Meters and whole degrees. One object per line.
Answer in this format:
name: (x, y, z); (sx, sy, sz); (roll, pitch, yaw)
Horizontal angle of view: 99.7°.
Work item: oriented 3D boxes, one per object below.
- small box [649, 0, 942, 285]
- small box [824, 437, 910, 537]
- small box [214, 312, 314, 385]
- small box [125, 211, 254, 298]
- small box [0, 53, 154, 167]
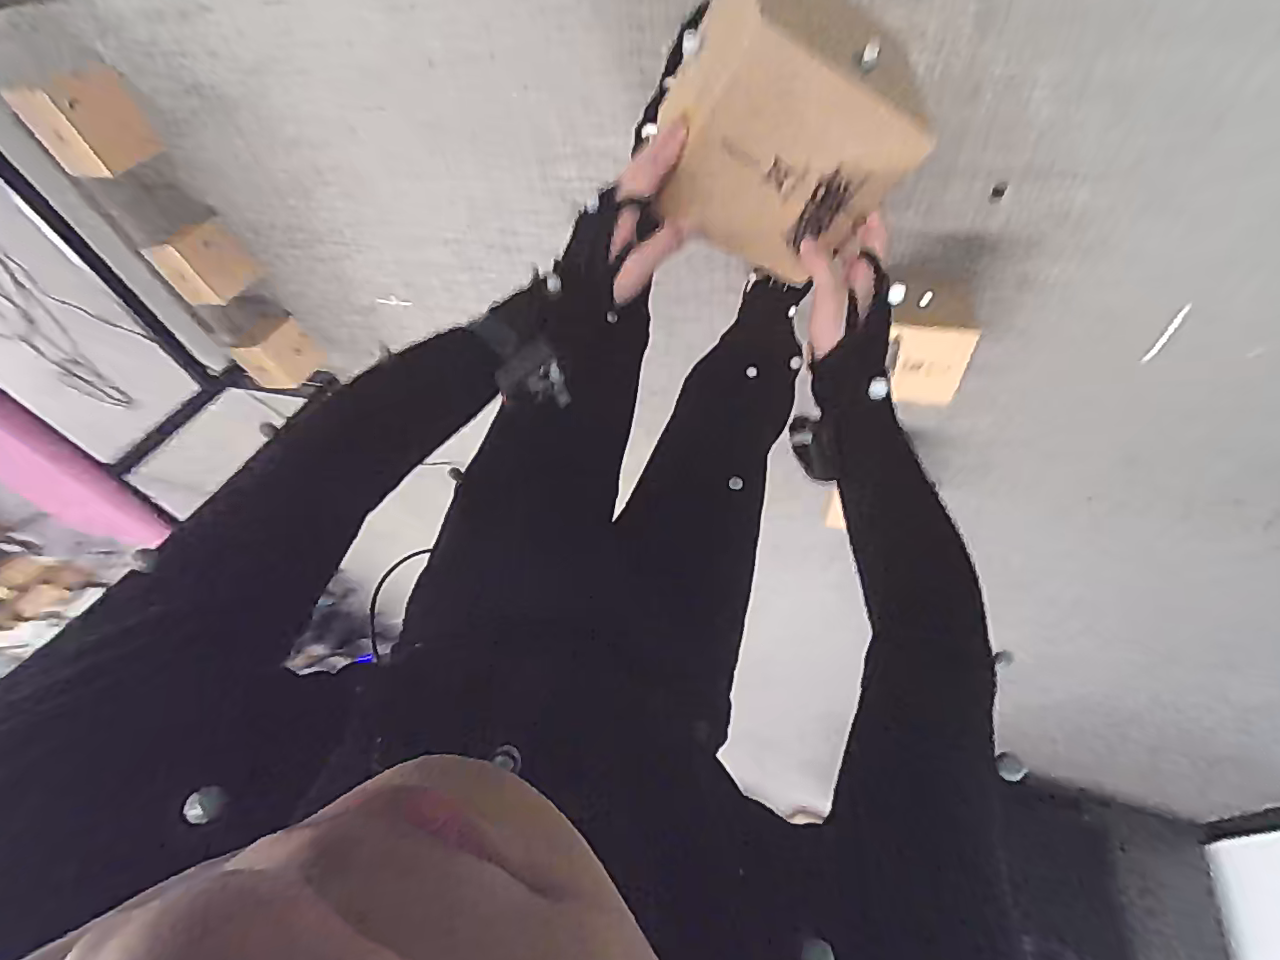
small box: (0.123, -0.316, 0.478); (0.179, 0.176, 0.168); (15, 149, -20)
small box: (0.570, 0.015, 1.365); (0.168, 0.176, 0.179); (11, 143, 16)
small box: (-1.195, -0.425, 1.741); (0.179, 0.176, 0.168); (5, 141, 23)
small box: (-1.238, -0.628, 1.499); (0.168, 0.176, 0.179); (7, 143, 22)
small box: (-1.292, -0.848, 1.239); (0.168, 0.176, 0.179); (11, 143, 16)
